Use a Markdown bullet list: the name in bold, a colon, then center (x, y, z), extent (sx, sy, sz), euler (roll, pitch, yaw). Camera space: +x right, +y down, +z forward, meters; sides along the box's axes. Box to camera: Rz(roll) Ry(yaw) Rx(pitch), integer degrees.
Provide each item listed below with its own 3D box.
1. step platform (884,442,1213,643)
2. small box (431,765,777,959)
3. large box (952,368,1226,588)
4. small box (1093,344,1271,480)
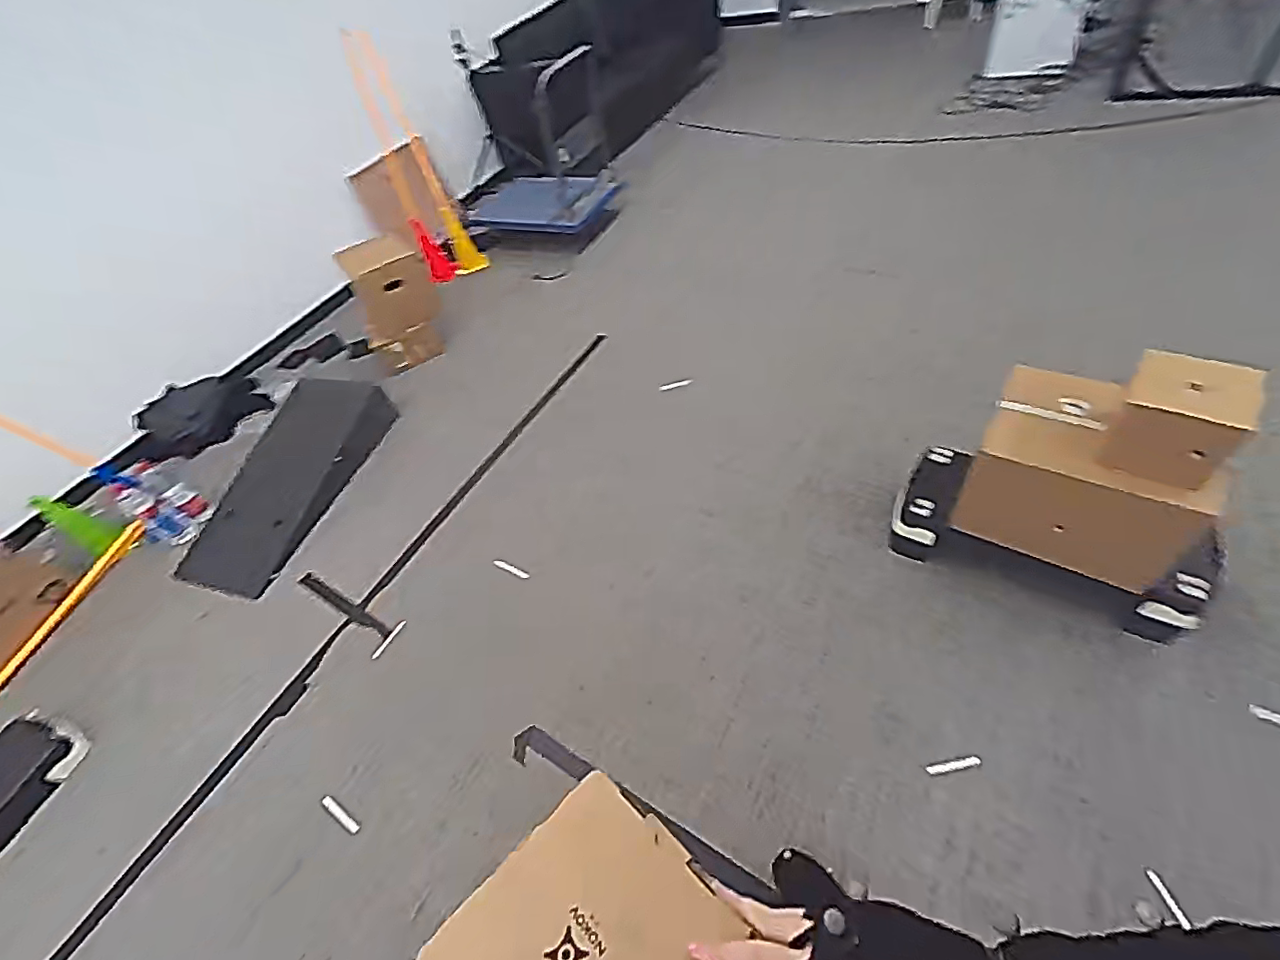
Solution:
- **step platform**: center (1.042, 0.133, 1.445), extent (0.684, 0.204, 0.286), euler (23, 61, 32)
- **small box**: center (-0.015, 0.368, 0.400), extent (0.179, 0.176, 0.168), euler (-34, 37, -28)
- **large box**: center (1.014, -0.012, 1.256), extent (0.408, 0.320, 0.320), euler (21, 59, 31)
- **small box**: center (1.013, -0.125, 1.023), extent (0.179, 0.176, 0.168), euler (25, 62, 32)
